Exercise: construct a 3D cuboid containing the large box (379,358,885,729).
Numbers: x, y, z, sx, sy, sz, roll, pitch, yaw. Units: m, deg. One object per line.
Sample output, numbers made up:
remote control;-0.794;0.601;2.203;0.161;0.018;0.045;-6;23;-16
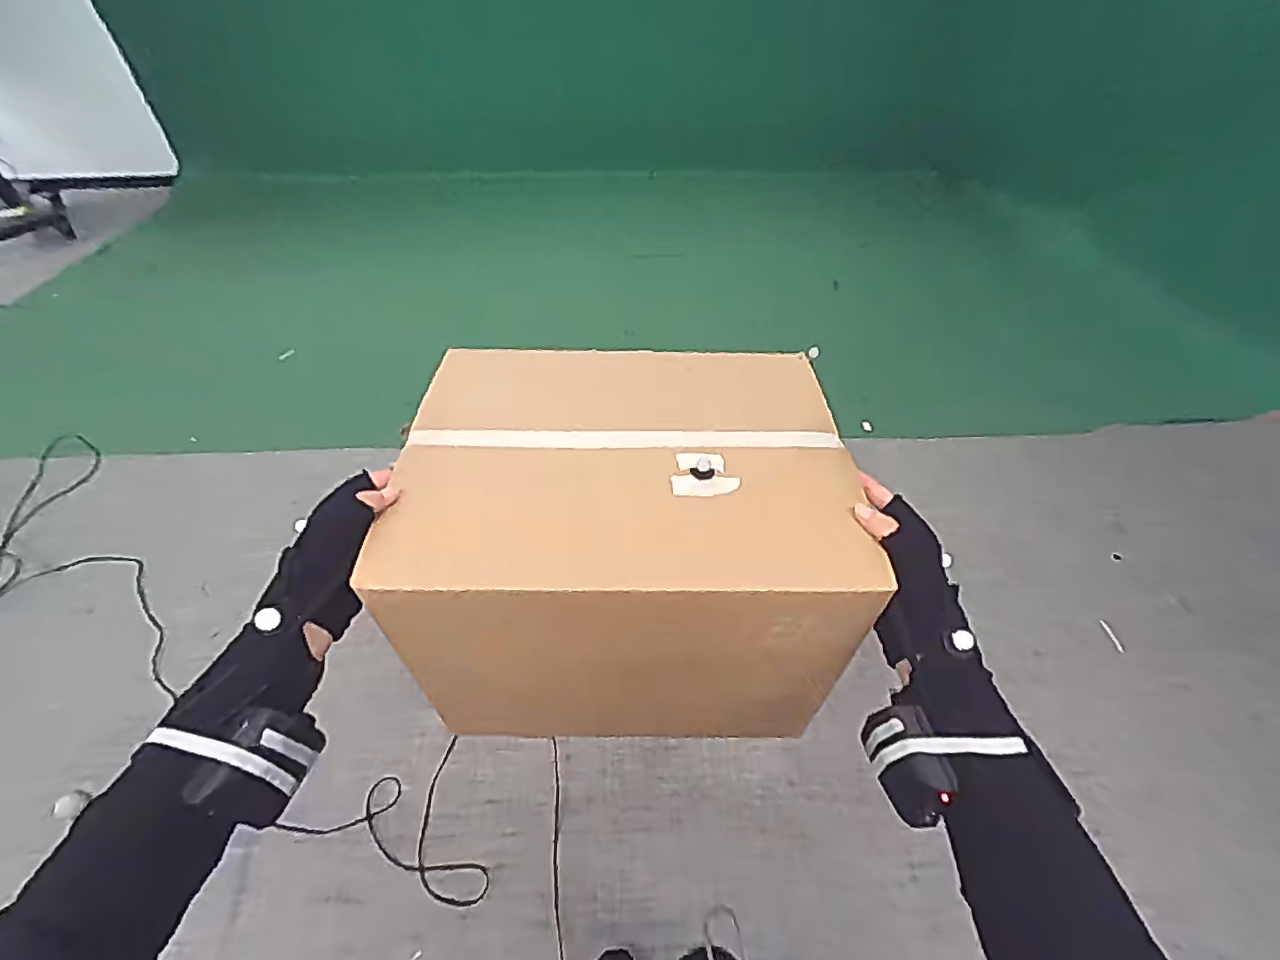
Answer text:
large box;-0.012;0.073;0.625;0.408;0.320;0.320;1;47;-2
